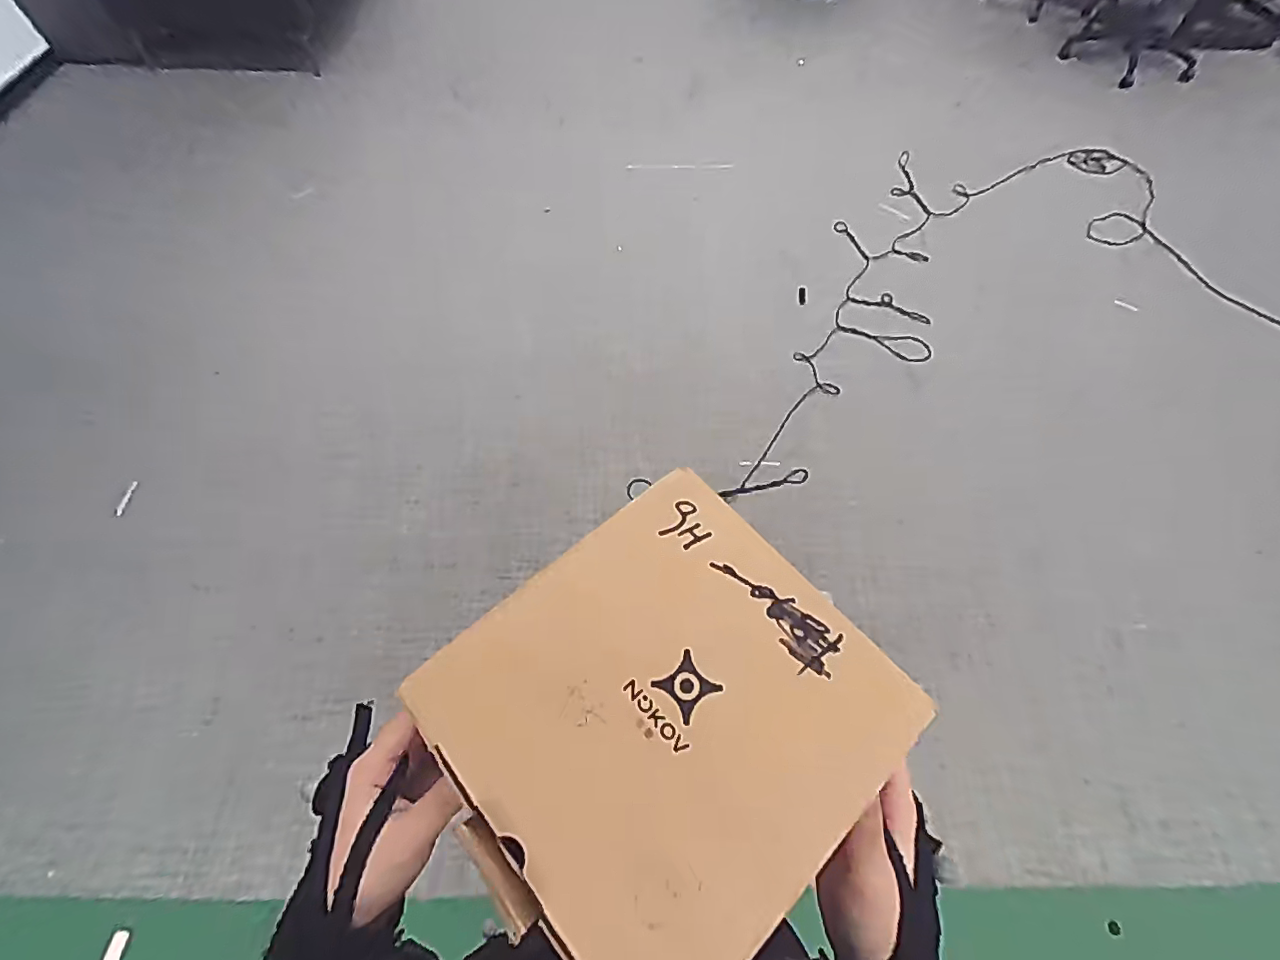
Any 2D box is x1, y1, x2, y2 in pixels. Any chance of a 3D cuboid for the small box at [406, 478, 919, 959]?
[{"bbox_3d":[0.009,0.139,0.312,0.179,0.176,0.168,-38,70,-20],"label":"small box"}]
